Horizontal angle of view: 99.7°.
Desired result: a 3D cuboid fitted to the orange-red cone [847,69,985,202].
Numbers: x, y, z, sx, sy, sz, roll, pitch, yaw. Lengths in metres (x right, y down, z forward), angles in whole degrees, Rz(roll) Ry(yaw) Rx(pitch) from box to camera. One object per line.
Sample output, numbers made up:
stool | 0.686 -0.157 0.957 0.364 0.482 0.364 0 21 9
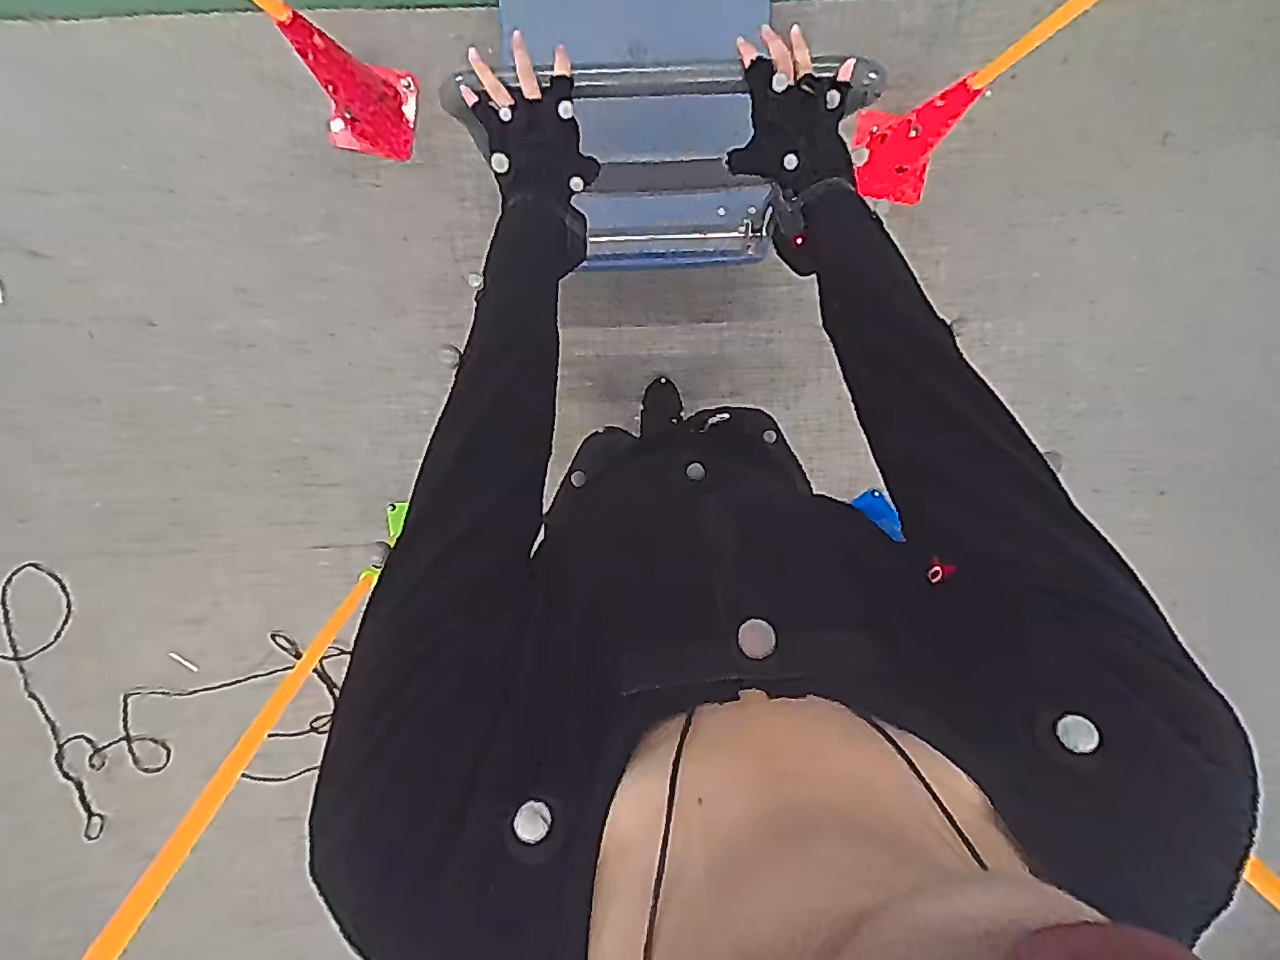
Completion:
orange-red cone | 0.634 -0.784 1.191 0.198 0.360 0.199 9 100 -2
